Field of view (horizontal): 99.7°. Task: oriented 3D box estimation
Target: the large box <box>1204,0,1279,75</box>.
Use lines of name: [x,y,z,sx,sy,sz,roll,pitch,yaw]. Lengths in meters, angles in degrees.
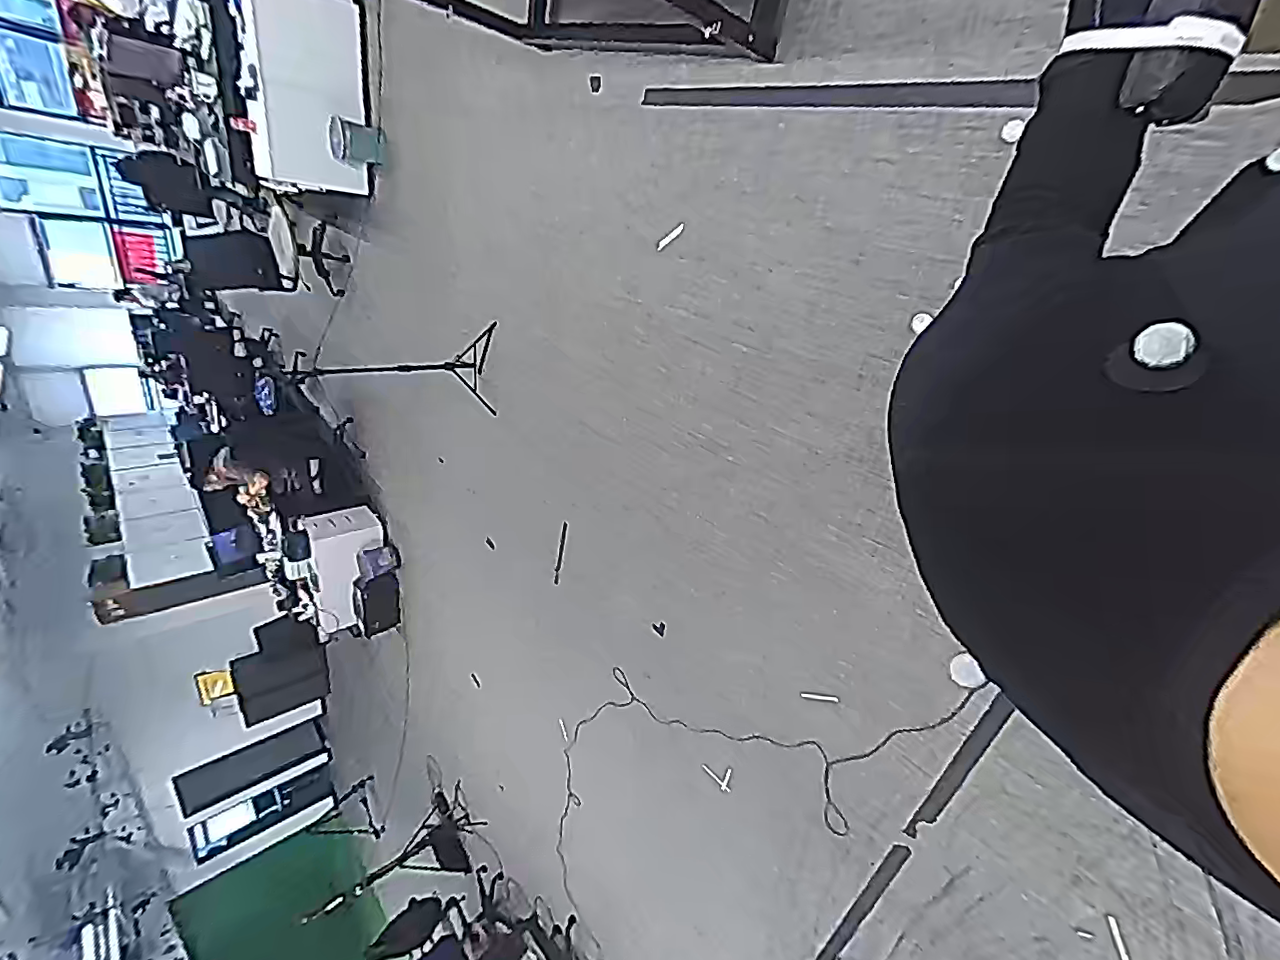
large box: [0.580,-0.397,0.227,0.408,0.320,0.320,28,128,35]
